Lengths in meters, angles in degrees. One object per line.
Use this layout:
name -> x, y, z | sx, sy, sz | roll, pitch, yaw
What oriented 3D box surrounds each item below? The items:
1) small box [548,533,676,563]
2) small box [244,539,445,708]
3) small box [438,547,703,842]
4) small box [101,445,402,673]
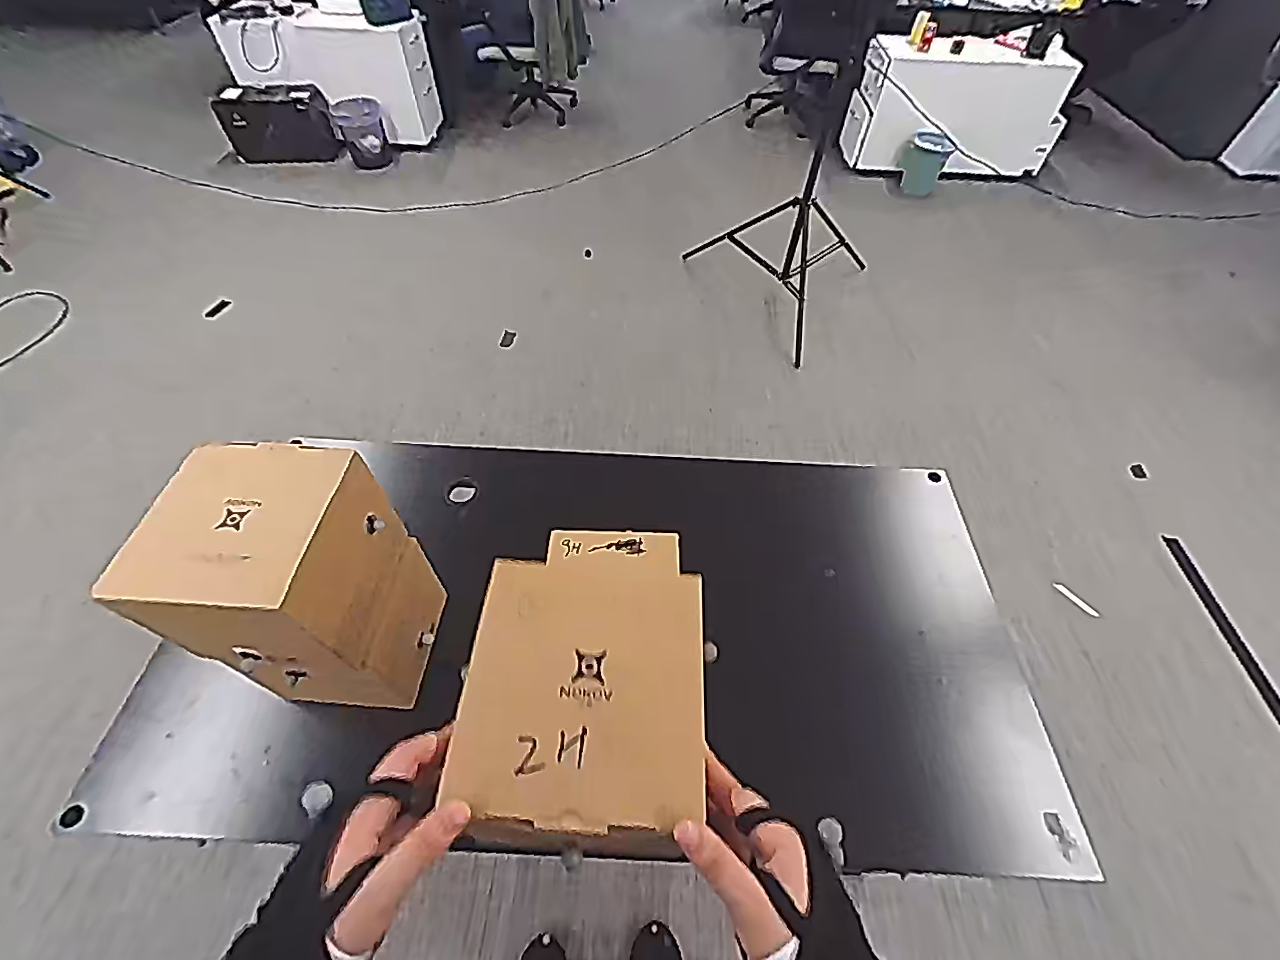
small box -> -0.038, 0.187, 0.710 | 0.168, 0.176, 0.179 | 2, 52, -1
small box -> -0.376, 0.184, 0.698 | 0.179, 0.176, 0.168 | 5, 52, 0
small box -> -0.043, 0.177, 0.441 | 0.168, 0.176, 0.179 | 5, 52, -1
small box -> -0.373, 0.085, 0.569 | 0.168, 0.176, 0.179 | 2, 53, 1
